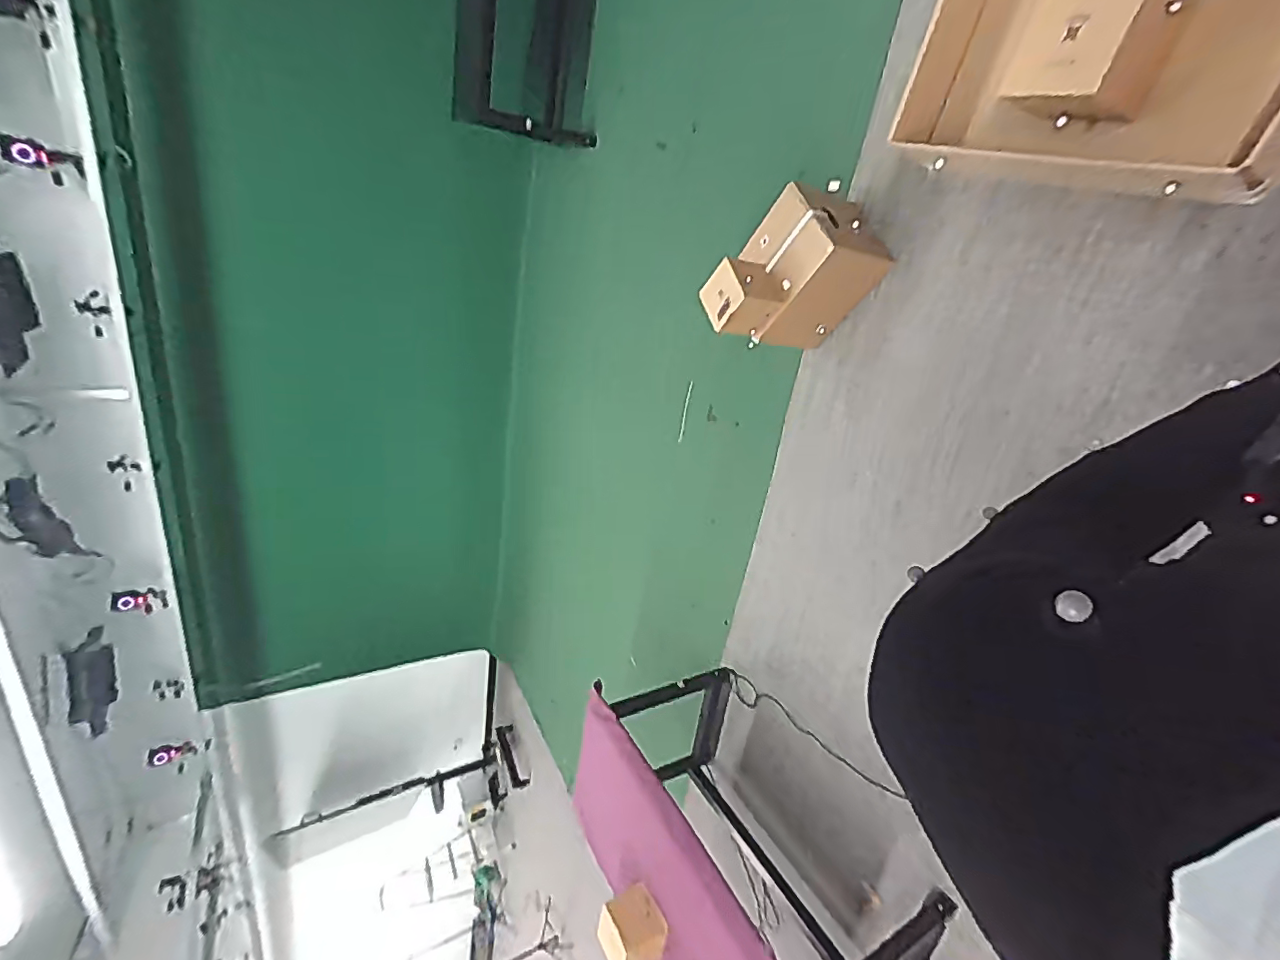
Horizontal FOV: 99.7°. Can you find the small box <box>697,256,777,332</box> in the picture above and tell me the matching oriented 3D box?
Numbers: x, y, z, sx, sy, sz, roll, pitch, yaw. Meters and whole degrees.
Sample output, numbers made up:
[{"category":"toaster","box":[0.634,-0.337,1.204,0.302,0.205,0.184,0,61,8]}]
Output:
[{"category":"small box","box":[0.322,-0.607,1.787,0.168,0.176,0.179,-45,57,49]}]

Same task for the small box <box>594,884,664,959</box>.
[{"category":"small box","box":[-0.037,1.537,1.839,0.168,0.176,0.179,37,122,50]}]
